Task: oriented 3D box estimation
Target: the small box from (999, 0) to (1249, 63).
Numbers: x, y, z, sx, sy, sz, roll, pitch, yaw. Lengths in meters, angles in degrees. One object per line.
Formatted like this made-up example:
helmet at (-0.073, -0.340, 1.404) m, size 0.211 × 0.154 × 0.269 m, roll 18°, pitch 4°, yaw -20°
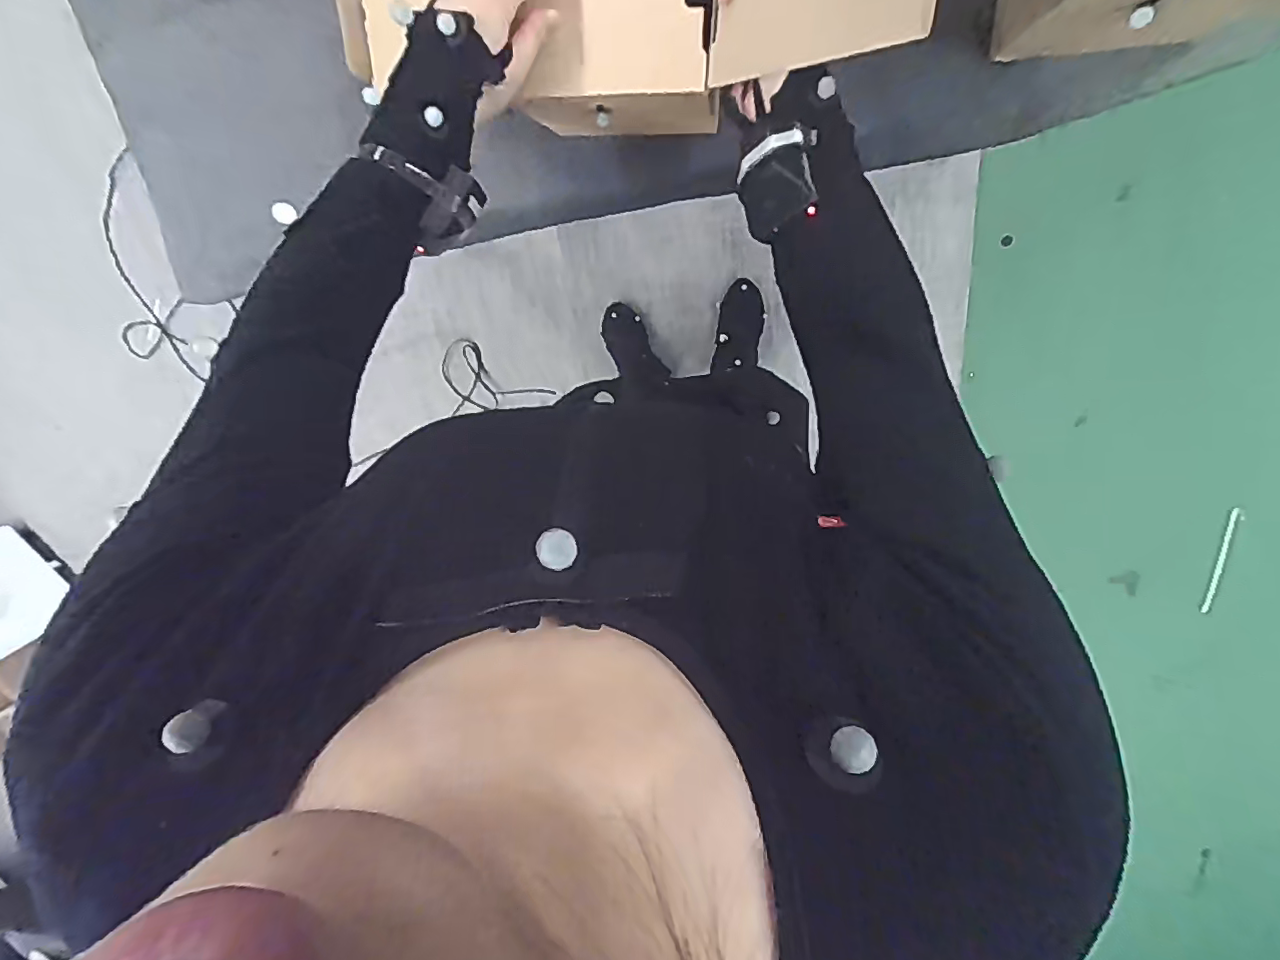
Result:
small box at (0.402, -0.438, 0.398) m, size 0.179 × 0.176 × 0.168 m, roll 1°, pitch 111°, yaw 10°
